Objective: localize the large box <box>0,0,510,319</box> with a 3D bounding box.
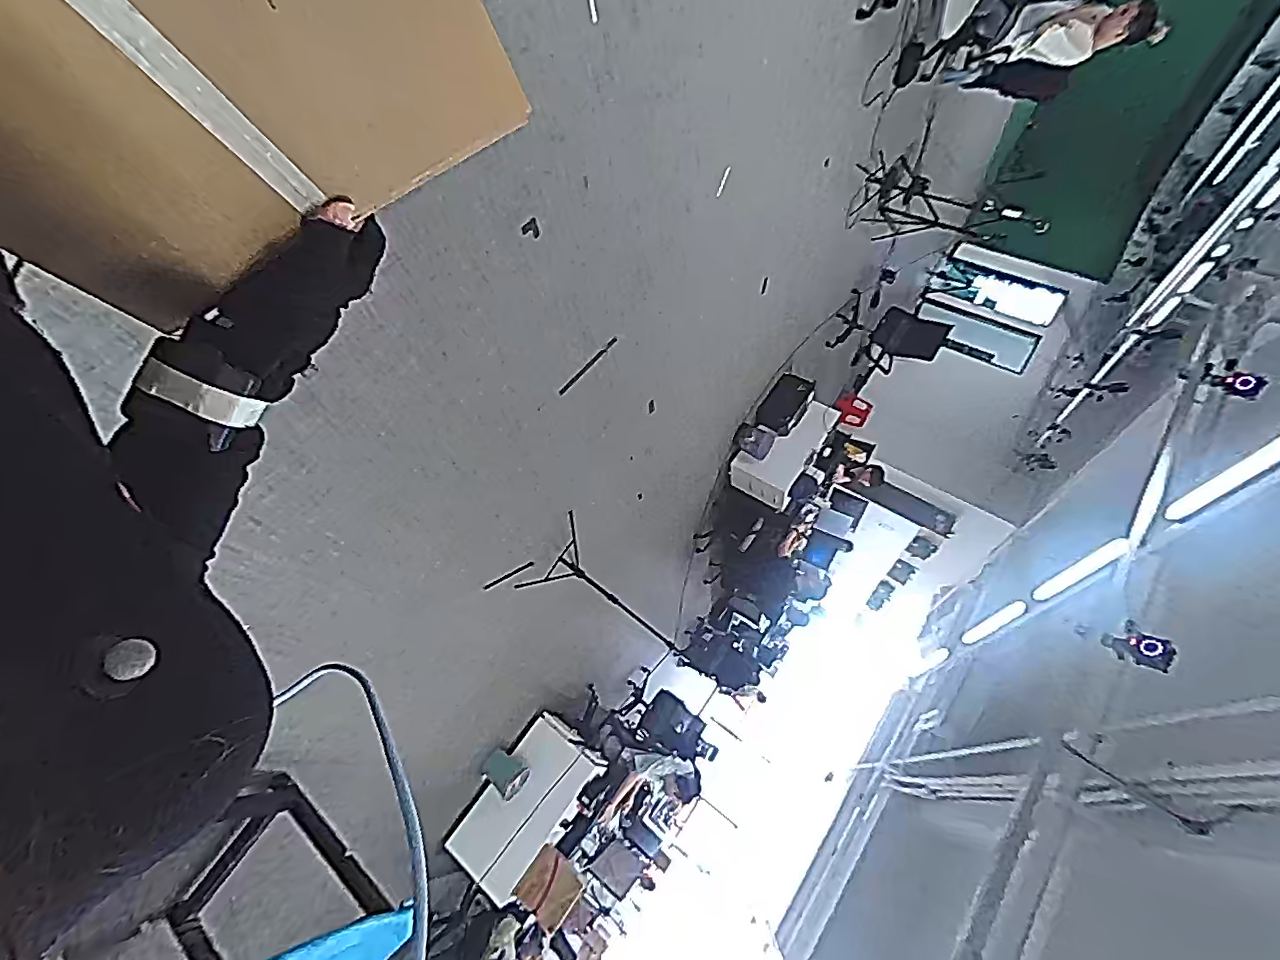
[{"bbox_3d":[-0.329,-0.369,0.267,0.320,0.320,0.408,-27,157,6],"label":"large box"}]
